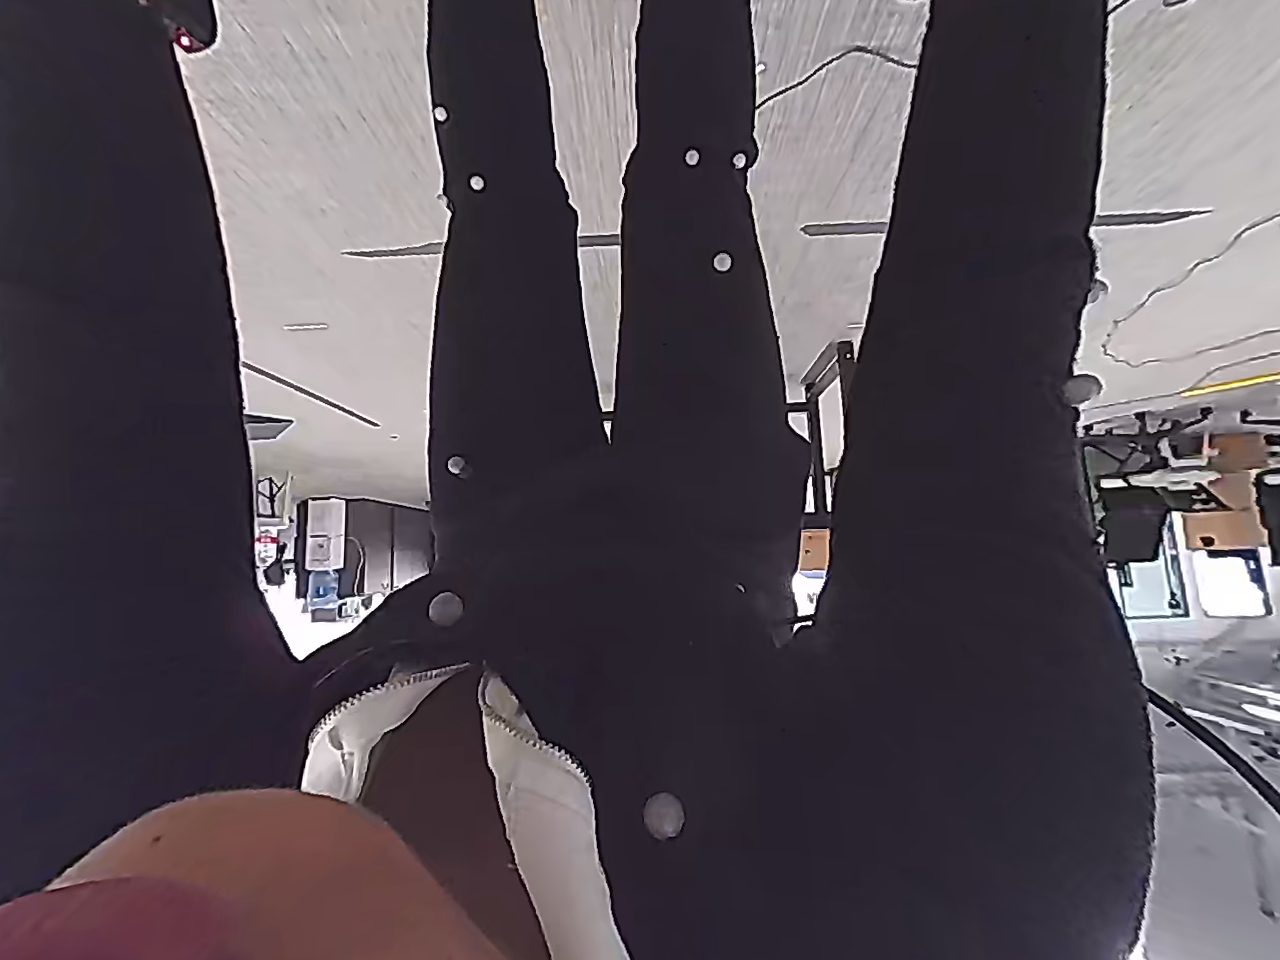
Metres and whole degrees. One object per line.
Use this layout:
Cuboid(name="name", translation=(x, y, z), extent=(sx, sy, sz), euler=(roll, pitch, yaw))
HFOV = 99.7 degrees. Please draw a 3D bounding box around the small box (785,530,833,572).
Cuboid(name="small box", translation=(0.720, 0.304, 2.320), extent=(0.168, 0.176, 0.179), euler=(-2, 173, 6))
